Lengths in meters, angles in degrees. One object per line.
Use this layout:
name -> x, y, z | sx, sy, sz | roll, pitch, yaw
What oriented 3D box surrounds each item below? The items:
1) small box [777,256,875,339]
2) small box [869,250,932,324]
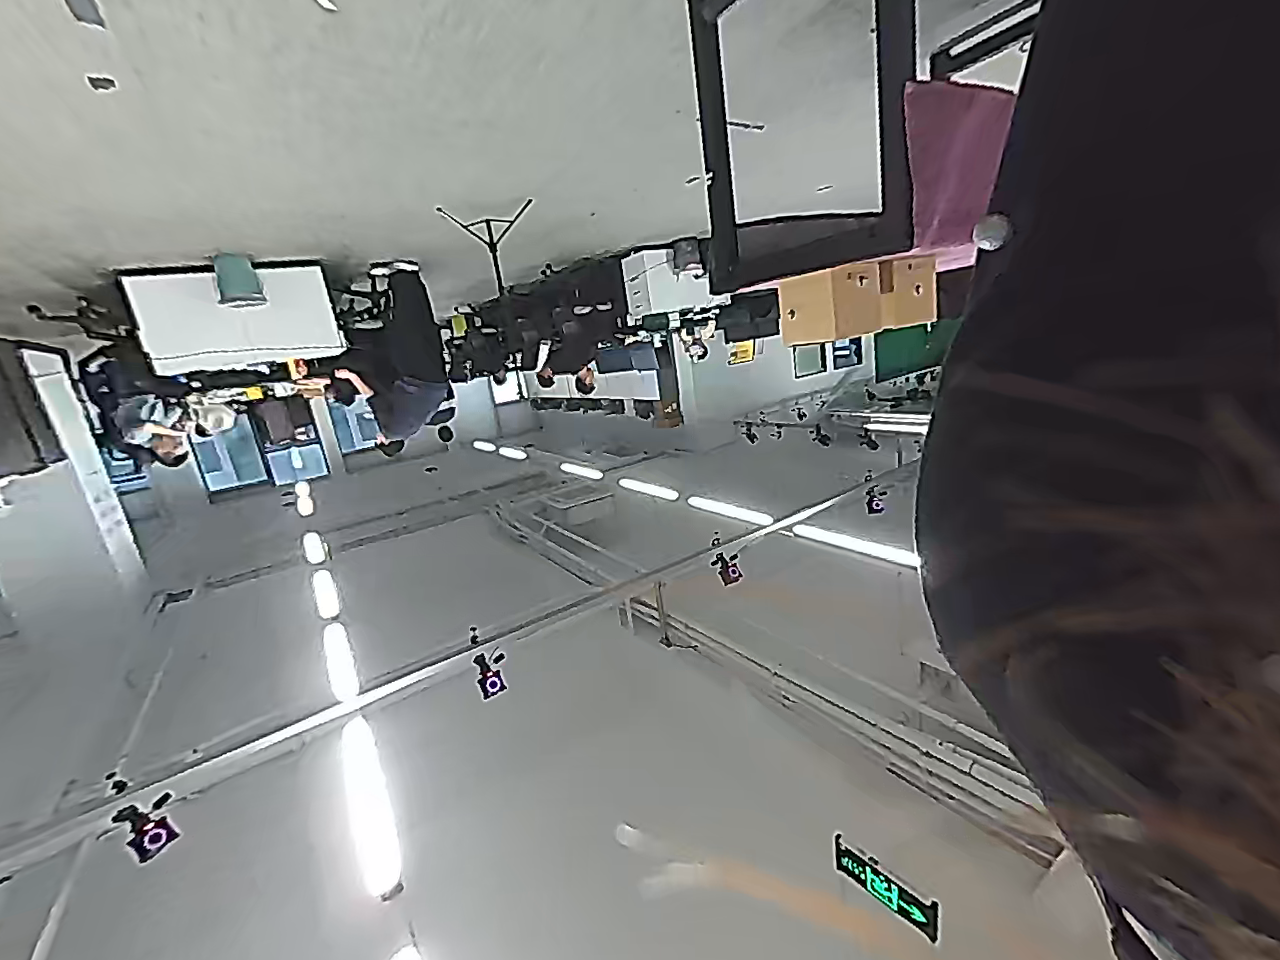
small box -> 0.456, -0.451, 1.339 | 0.168, 0.176, 0.179 | -19, -162, -26
small box -> 0.654, -0.516, 1.457 | 0.168, 0.176, 0.179 | -16, -163, -25
